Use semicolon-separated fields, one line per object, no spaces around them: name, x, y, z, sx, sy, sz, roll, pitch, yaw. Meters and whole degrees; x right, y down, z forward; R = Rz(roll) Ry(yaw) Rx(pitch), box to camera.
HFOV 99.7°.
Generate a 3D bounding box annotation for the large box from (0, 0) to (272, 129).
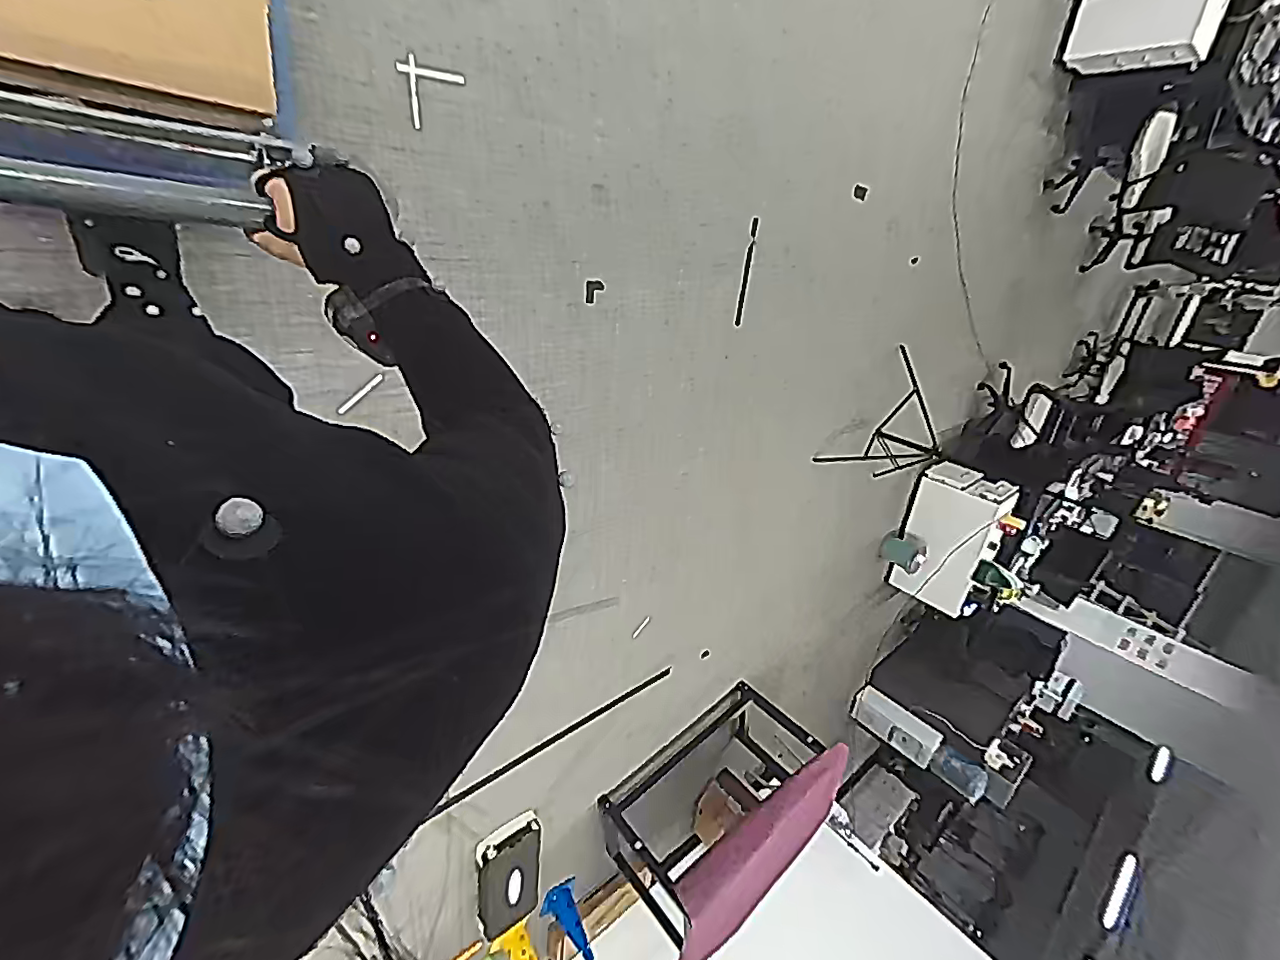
large box;-0.717;-0.636;0.628;0.408;0.320;0.320;-13;122;-40
